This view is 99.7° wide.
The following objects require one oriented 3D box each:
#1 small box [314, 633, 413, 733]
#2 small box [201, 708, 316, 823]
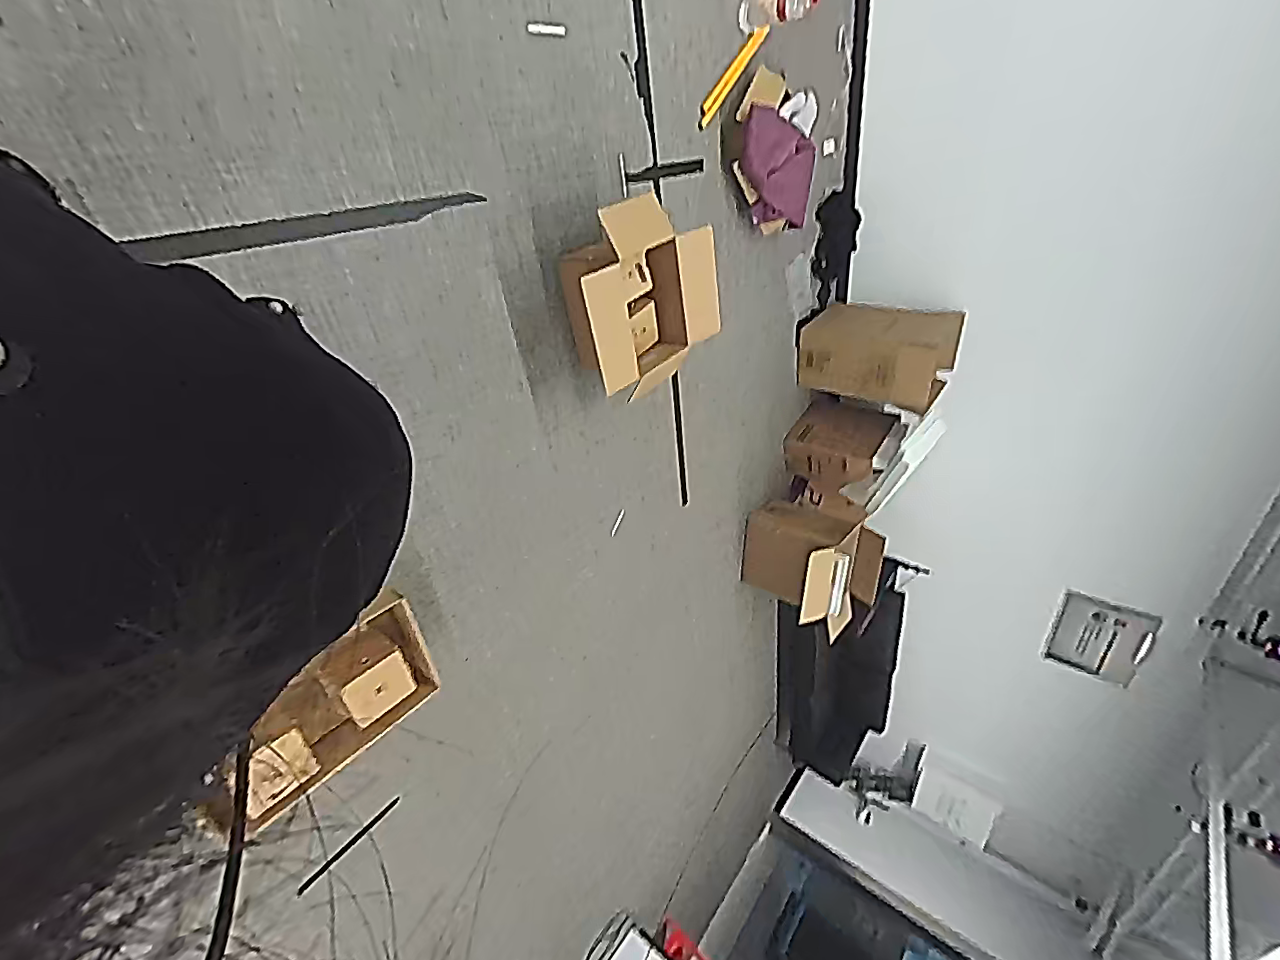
[{"bbox_3d":[-0.798,0.578,1.565,0.179,0.176,0.168,-34,127,-38],"label":"small box"},{"bbox_3d":[-0.980,0.718,1.388,0.168,0.176,0.179,-33,127,-42],"label":"small box"}]
